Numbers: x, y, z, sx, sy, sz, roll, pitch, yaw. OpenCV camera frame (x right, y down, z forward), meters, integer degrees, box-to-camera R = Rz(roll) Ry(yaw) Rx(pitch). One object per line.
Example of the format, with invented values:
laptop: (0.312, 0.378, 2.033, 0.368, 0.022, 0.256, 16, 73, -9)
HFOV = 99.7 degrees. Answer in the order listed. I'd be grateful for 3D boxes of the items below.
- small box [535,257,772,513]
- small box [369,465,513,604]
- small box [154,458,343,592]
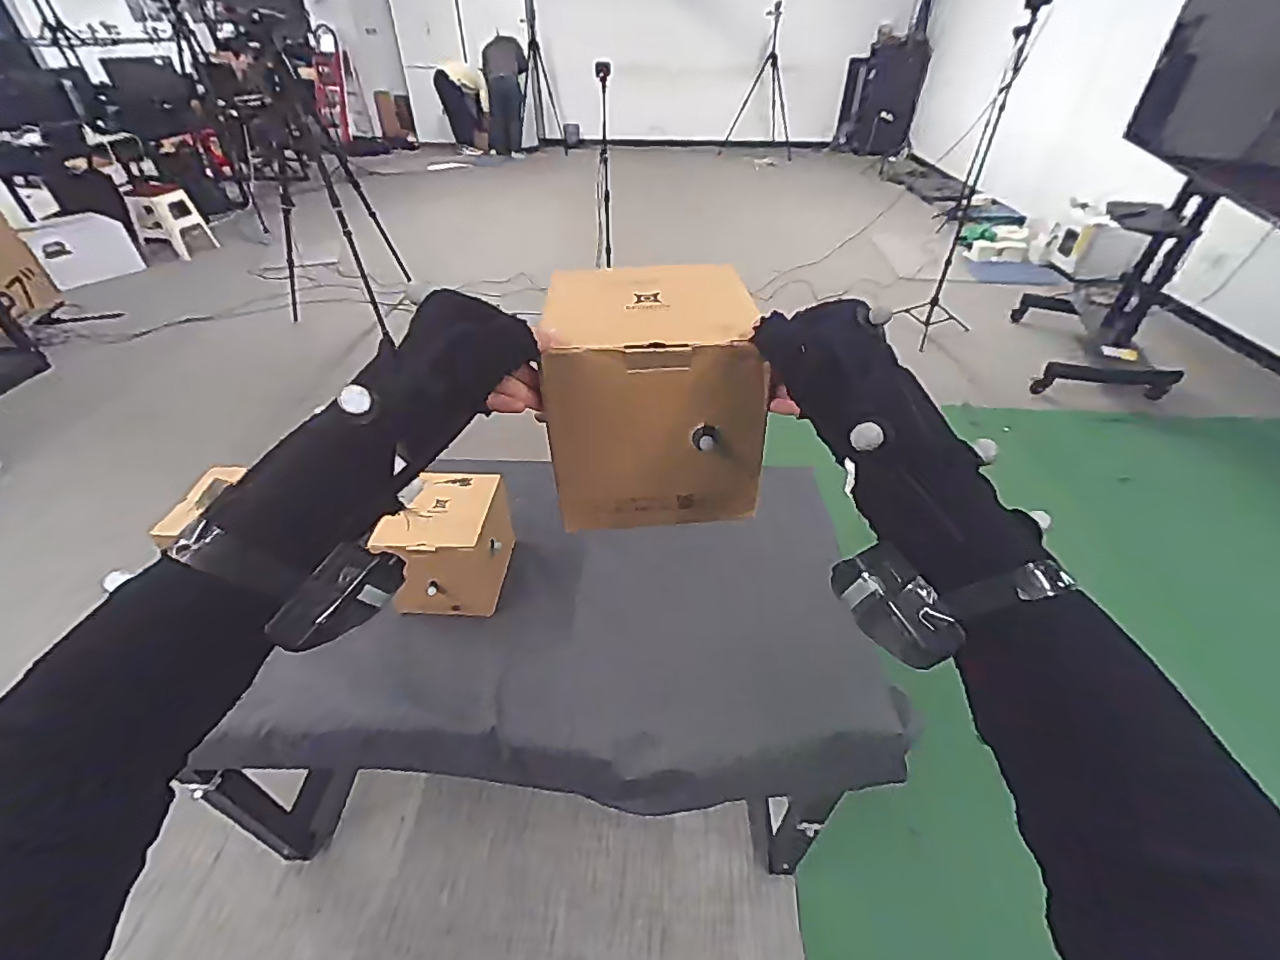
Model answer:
small box: (0.008, -0.082, 0.478, 0.168, 0.176, 0.179, -3, 38, -2)
small box: (-0.322, 0.094, 0.920, 0.168, 0.176, 0.179, 2, 42, 1)
small box: (-0.653, 0.079, 0.929, 0.179, 0.176, 0.168, 1, 41, -2)
